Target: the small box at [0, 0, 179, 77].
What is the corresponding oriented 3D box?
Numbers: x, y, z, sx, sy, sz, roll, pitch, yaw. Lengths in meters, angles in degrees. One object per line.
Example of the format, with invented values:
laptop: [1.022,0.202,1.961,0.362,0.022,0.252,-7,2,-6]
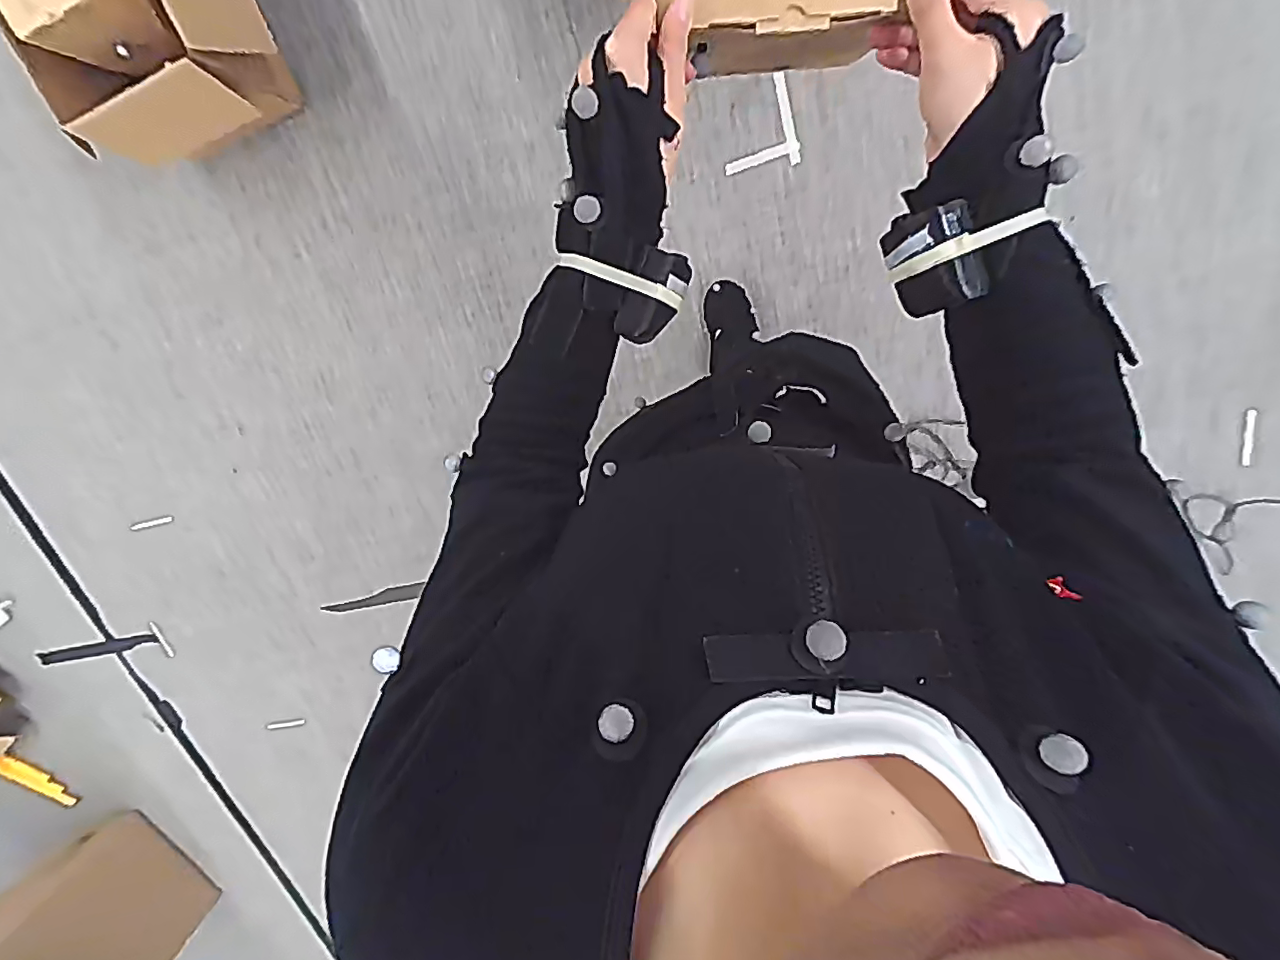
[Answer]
small box: [-0.985,-0.861,0.950,0.168,0.176,0.179,-16,108,12]
